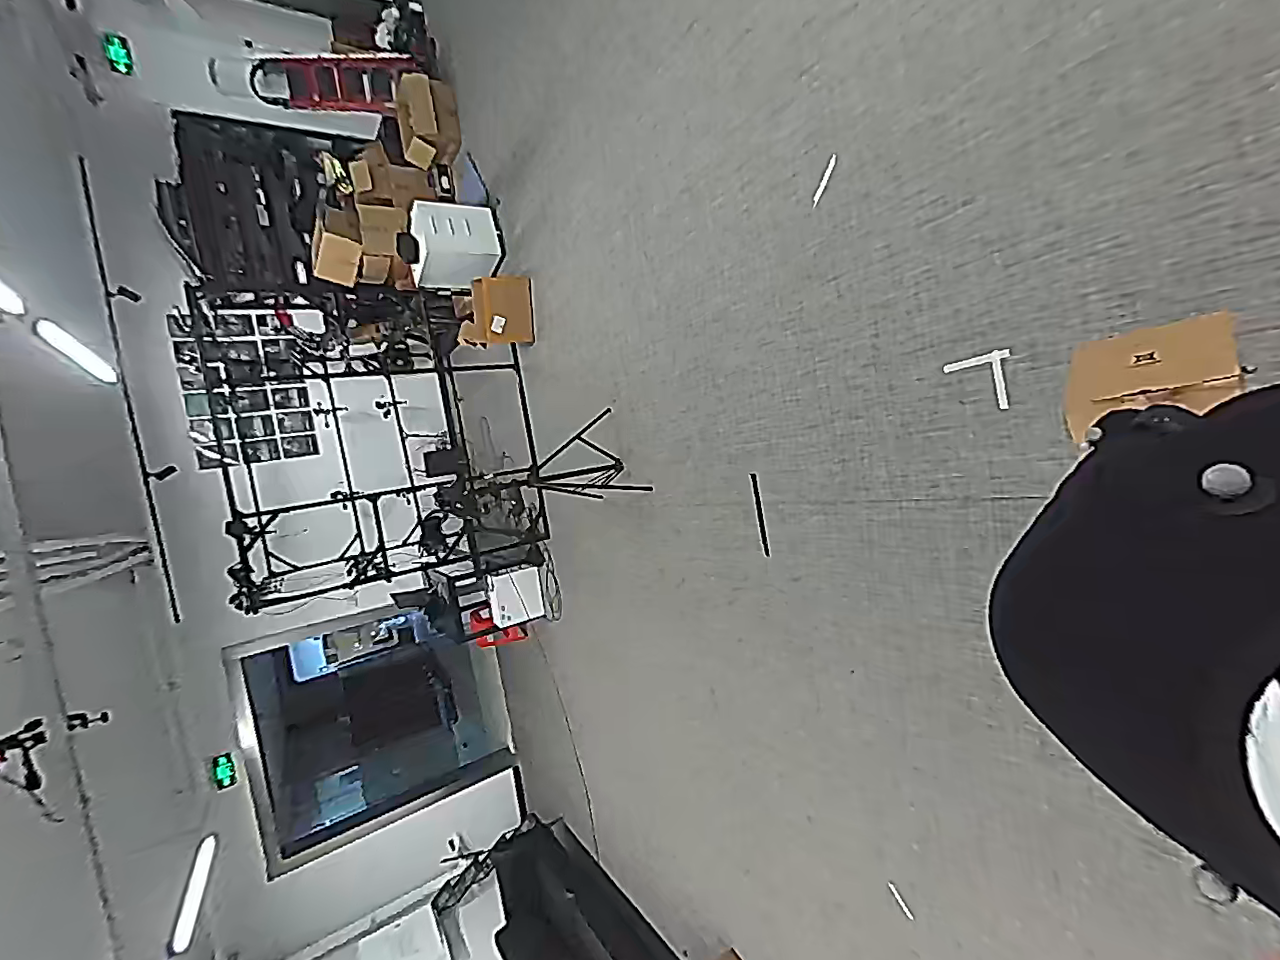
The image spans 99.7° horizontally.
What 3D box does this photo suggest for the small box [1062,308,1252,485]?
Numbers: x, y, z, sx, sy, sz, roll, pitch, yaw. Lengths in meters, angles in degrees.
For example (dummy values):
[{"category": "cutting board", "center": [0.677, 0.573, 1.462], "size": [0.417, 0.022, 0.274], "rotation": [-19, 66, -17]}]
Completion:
[{"category": "small box", "center": [0.721, -0.104, 0.757], "size": [0.168, 0.179, 0.176], "rotation": [-8, 123, 48]}]
